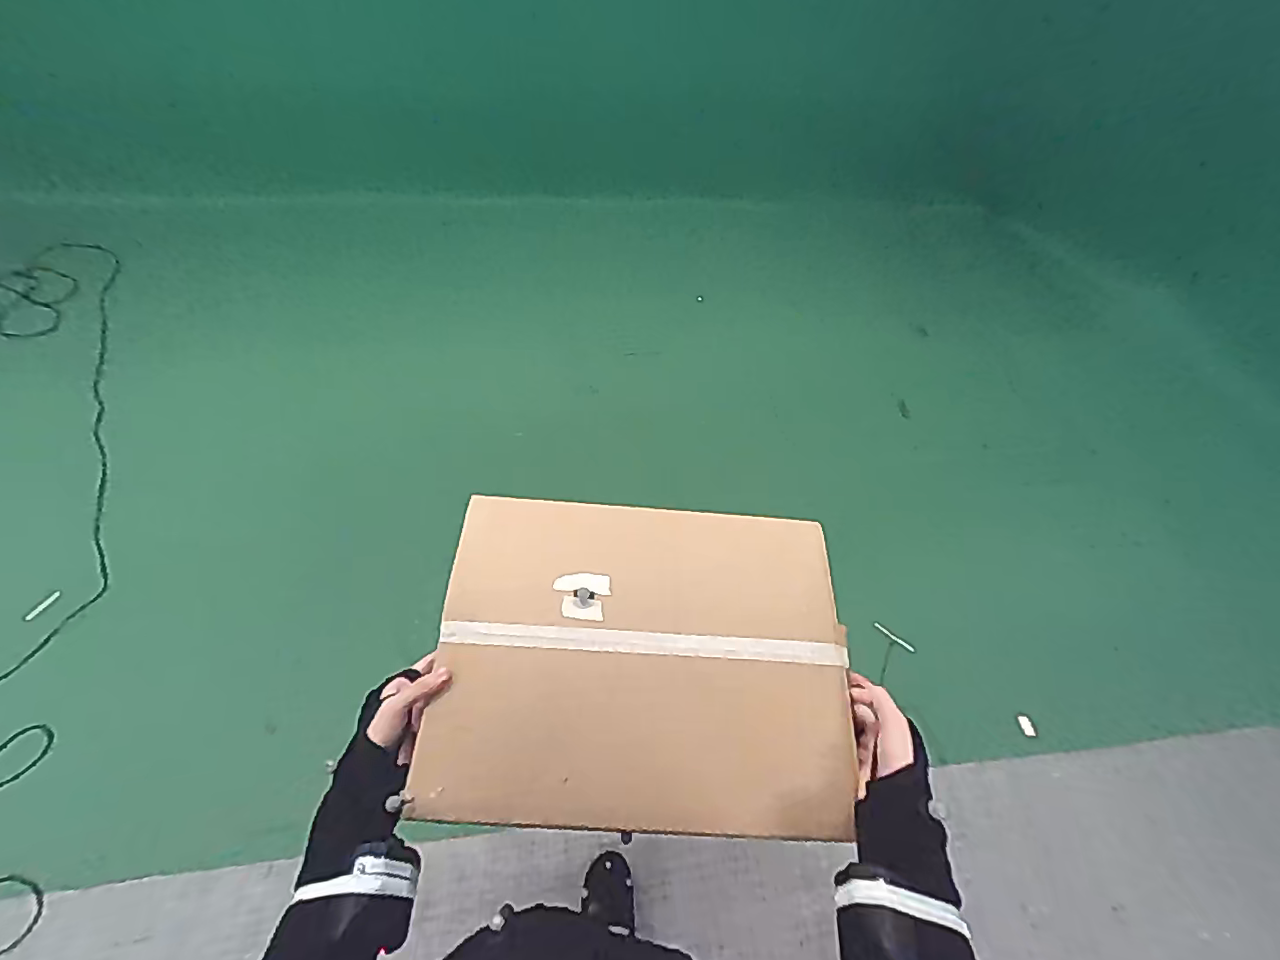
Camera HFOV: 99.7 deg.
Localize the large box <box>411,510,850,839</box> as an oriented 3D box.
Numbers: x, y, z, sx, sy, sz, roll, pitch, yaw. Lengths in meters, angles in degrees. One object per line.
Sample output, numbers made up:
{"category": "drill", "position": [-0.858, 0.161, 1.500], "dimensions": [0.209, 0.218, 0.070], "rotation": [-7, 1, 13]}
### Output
{"category": "large box", "position": [-0.008, 0.252, 0.685], "dimensions": [0.408, 0.320, 0.320], "rotation": [5, 59, -2]}
